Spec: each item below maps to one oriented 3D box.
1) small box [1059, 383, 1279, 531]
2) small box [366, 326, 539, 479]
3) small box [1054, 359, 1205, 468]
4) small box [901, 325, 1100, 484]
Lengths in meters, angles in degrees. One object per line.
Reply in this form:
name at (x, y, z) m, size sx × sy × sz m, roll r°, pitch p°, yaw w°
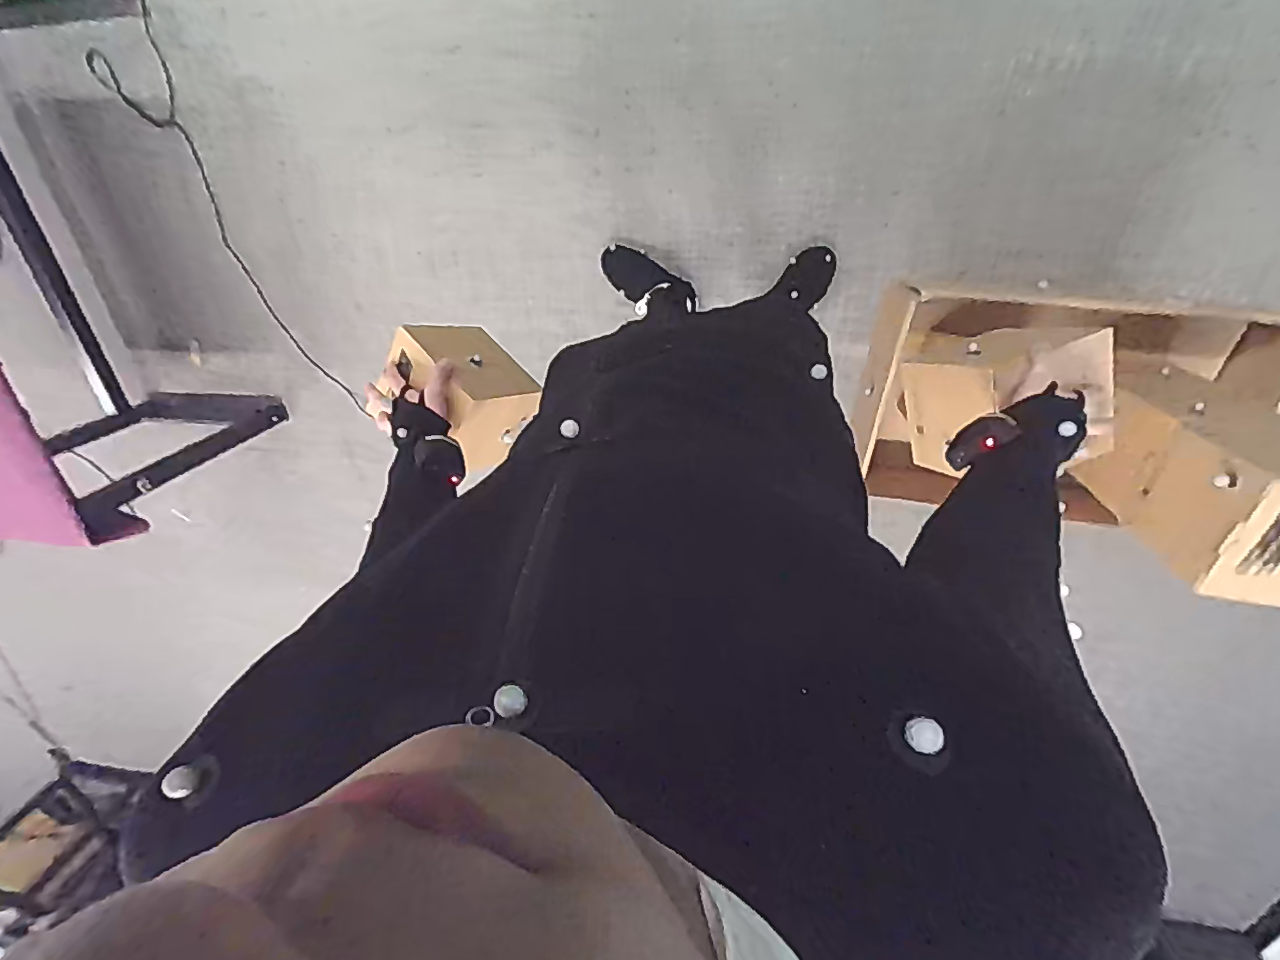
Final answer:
small box at (0.815, -0.043, 0.842) m, size 0.179 × 0.176 × 0.168 m, roll 7°, pitch 120°, yaw 8°
small box at (-0.302, -0.130, 0.883) m, size 0.179 × 0.176 × 0.168 m, roll 43°, pitch 119°, yaw 12°
small box at (0.845, -0.120, 0.982) m, size 0.179 × 0.176 × 0.168 m, roll 8°, pitch 119°, yaw 7°
small box at (0.494, -0.113, 0.763) m, size 0.179 × 0.176 × 0.168 m, roll -19°, pitch 108°, yaw -8°
